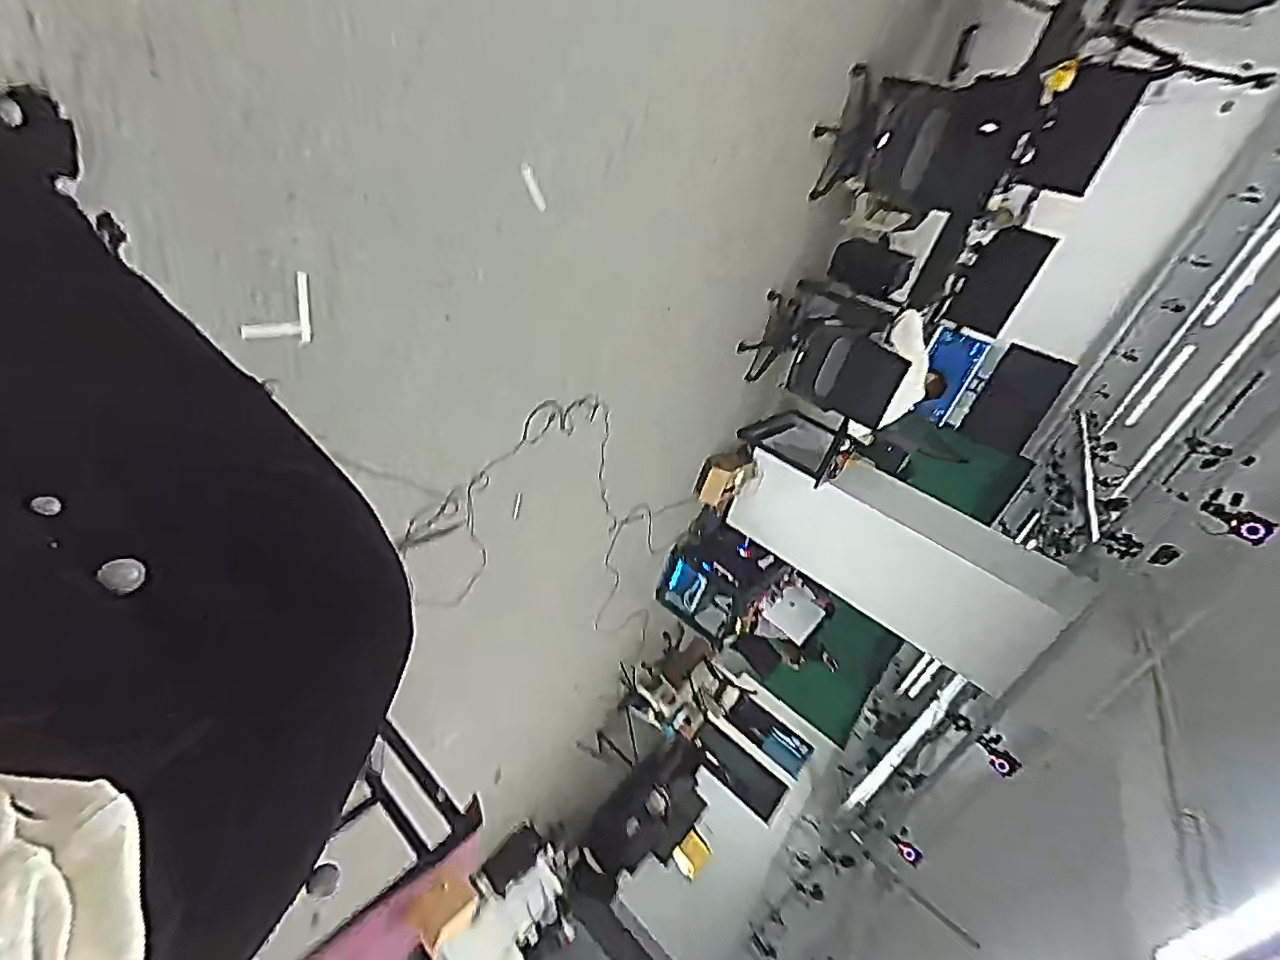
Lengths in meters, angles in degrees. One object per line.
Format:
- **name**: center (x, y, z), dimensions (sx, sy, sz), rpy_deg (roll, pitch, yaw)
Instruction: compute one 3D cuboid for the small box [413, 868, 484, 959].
- **small box**: center (-0.720, 1.613, 2.022), dimensions (0.168, 0.176, 0.179), rpy_deg (-11, 128, -56)
